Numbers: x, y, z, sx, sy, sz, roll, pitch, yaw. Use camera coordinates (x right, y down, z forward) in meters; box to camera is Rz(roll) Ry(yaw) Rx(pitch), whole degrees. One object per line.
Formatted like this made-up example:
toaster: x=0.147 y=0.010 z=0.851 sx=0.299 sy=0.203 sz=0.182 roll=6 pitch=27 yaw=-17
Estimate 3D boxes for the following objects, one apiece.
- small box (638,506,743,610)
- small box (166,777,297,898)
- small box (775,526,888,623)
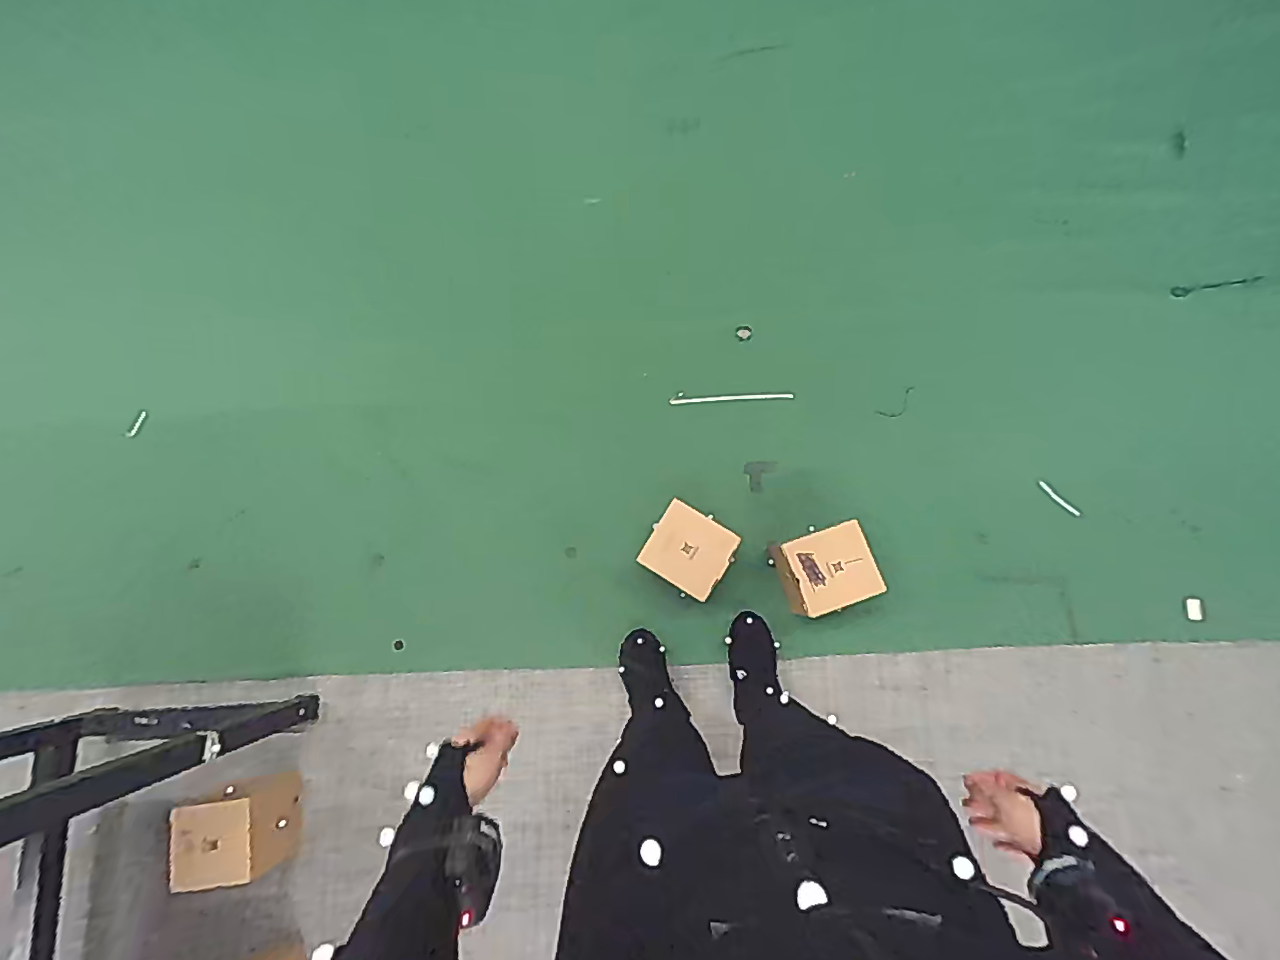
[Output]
small box: x=0.115 y=0.180 z=1.251 sx=0.179 sy=0.176 sz=0.168 roll=31 pitch=82 yaw=9
small box: x=-0.896 y=0.782 z=1.202 sx=0.179 sy=0.176 sz=0.168 roll=-8 pitch=79 yaw=2
small box: x=0.420 y=0.216 z=1.226 sx=0.179 sy=0.176 sz=0.168 roll=-19 pitch=80 yaw=-1
